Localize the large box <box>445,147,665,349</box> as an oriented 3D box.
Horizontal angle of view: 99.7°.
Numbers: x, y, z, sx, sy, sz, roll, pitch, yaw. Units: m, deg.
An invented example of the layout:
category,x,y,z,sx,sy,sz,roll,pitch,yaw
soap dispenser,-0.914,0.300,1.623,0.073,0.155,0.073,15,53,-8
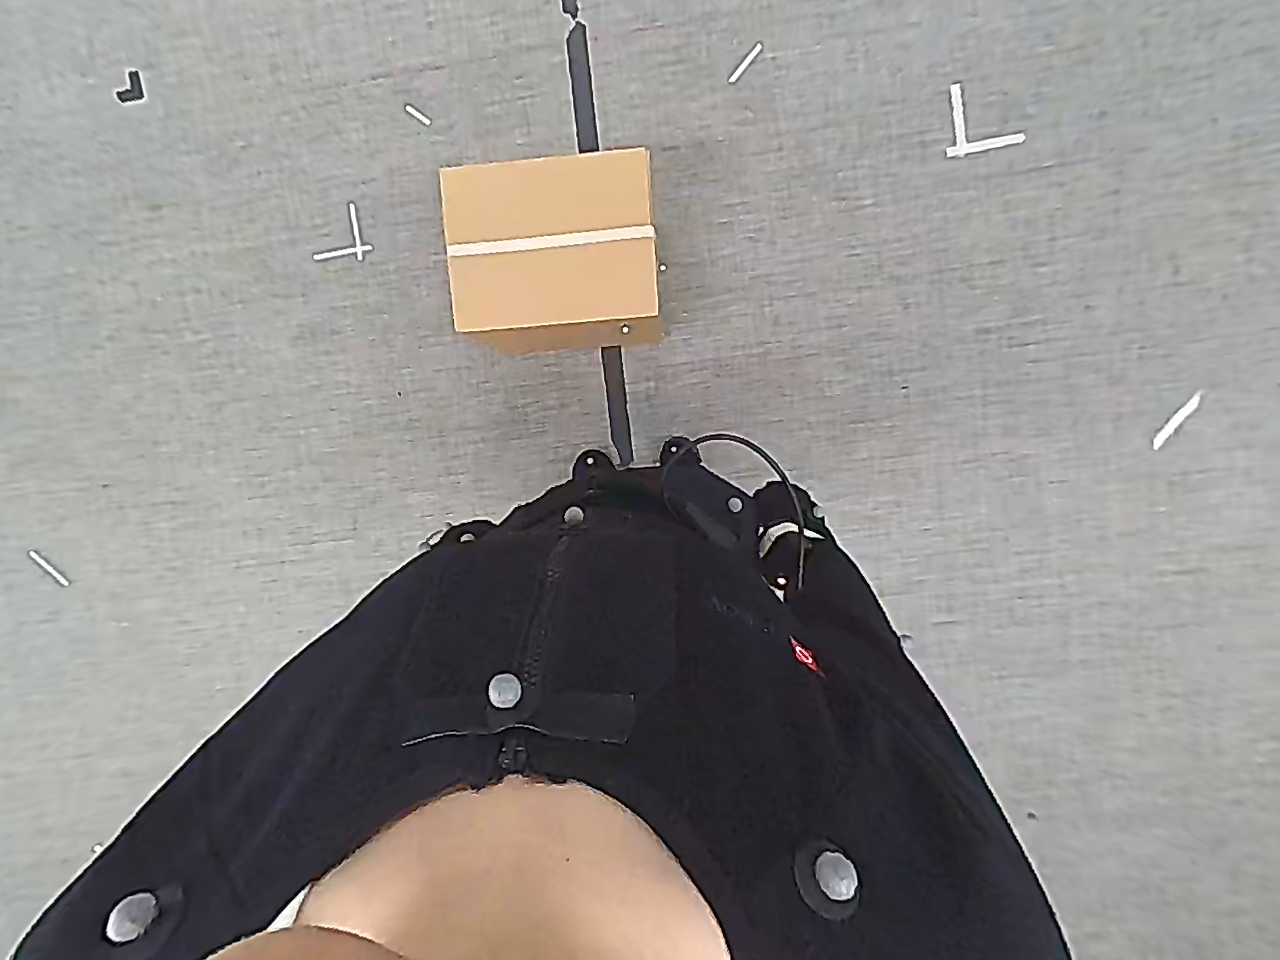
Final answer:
category,x,y,z,sx,sy,sz,roll,pitch,yaw
large box,-0.159,-0.476,1.191,0.408,0.320,0.320,-4,95,4
